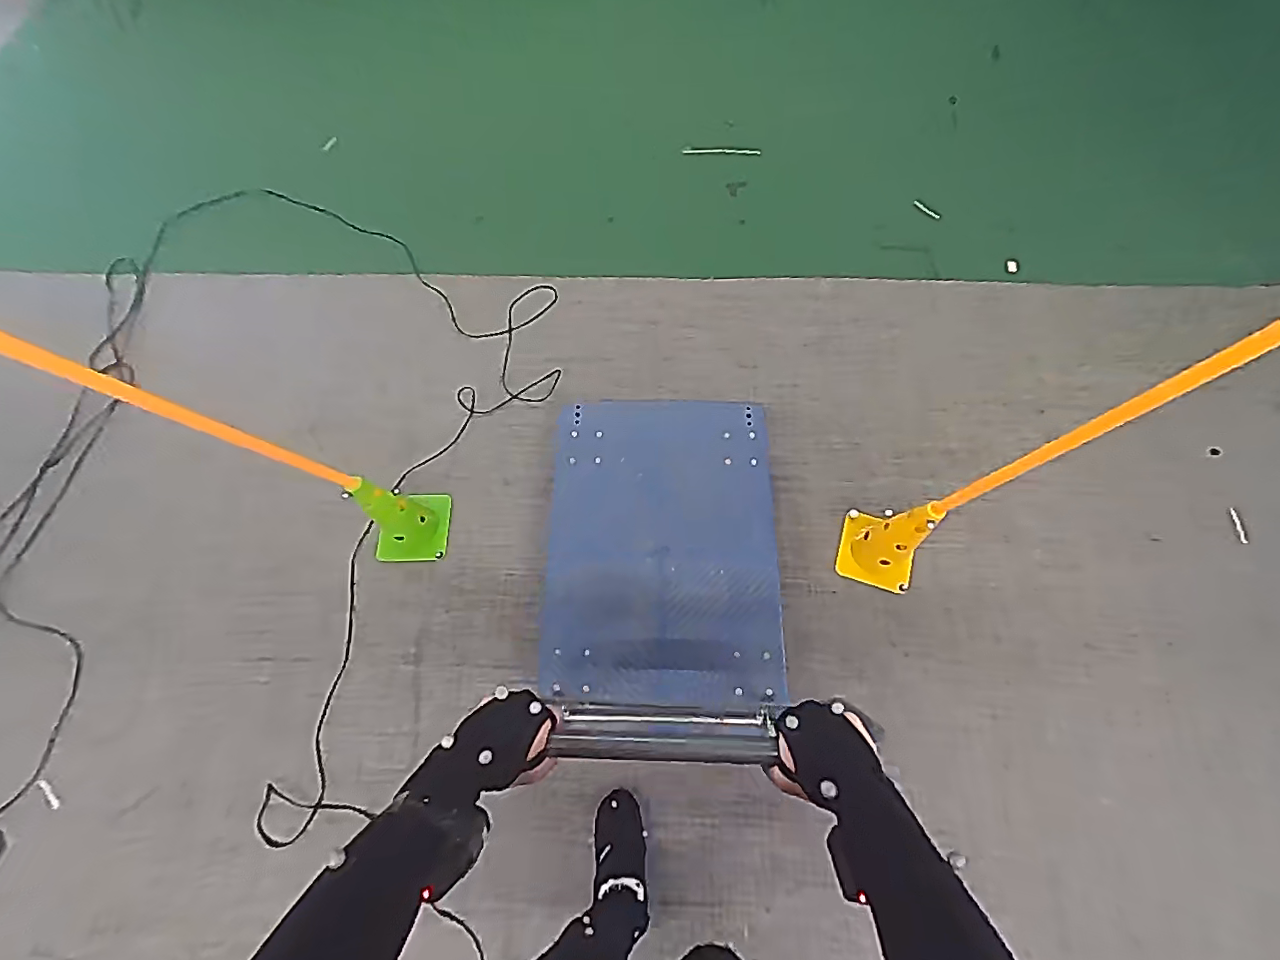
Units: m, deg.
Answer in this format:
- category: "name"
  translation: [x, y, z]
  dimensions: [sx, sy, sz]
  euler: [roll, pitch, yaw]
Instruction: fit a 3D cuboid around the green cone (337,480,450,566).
- category: "green cone"
  translation: [-0.668, 0.082, 1.416]
  dimensions: [0.202, 0.368, 0.200]
  euler: [-3, 67, 2]
